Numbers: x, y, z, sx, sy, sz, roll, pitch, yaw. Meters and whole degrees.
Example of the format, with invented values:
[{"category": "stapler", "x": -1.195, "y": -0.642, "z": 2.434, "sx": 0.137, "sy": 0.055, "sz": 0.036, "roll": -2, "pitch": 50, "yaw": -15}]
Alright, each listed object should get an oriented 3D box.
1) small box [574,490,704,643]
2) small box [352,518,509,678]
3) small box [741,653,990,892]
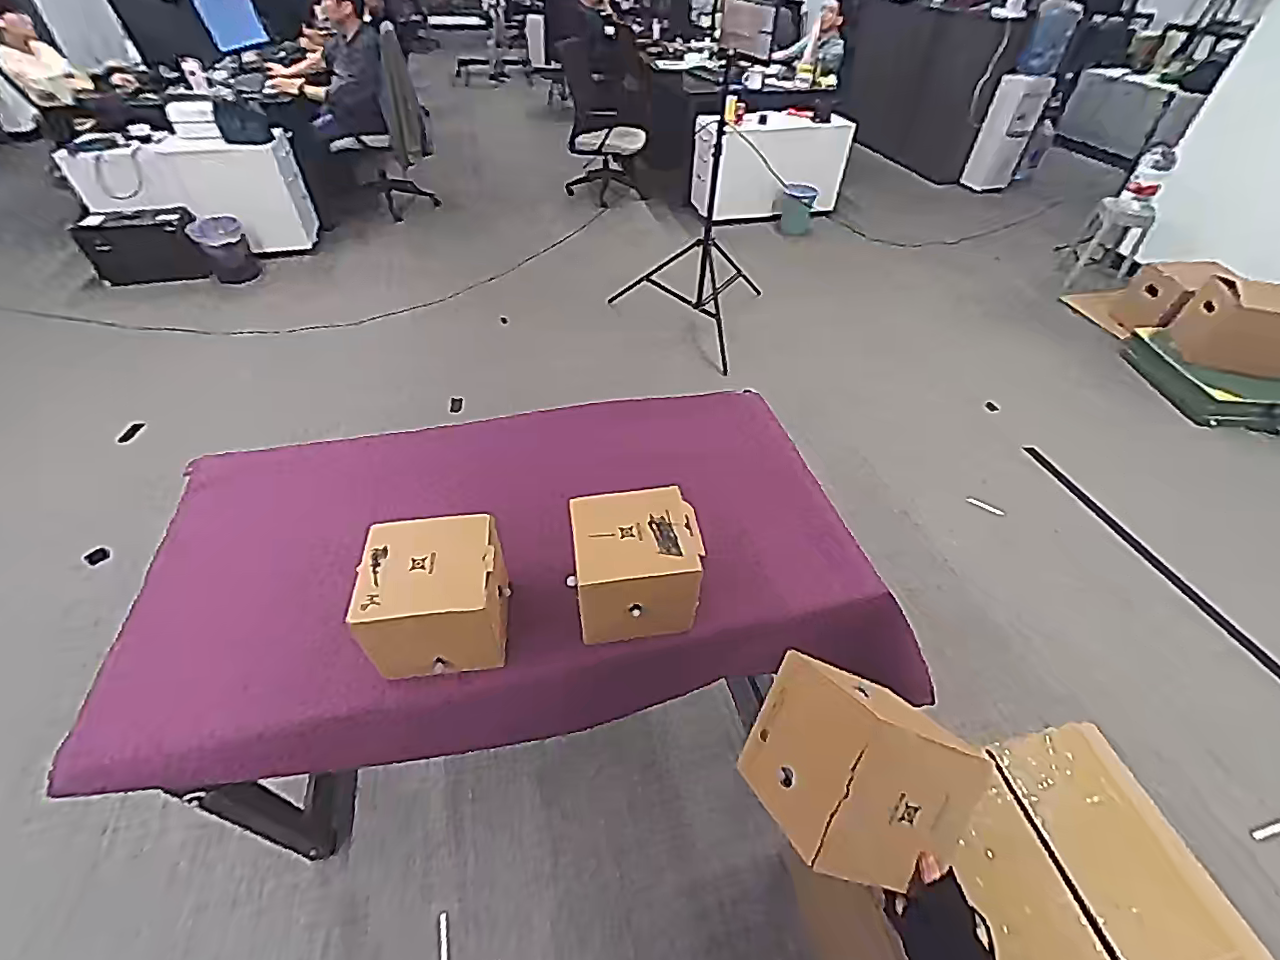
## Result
[{"category": "small box", "x": -0.009, "y": 0.138, "z": 0.855, "sx": 0.179, "sy": 0.176, "sz": 0.168, "roll": -6, "pitch": 45, "yaw": -7}, {"category": "small box", "x": -0.294, "y": 0.177, "z": 0.808, "sx": 0.179, "sy": 0.176, "sz": 0.168, "roll": -4, "pitch": 45, "yaw": -7}, {"category": "small box", "x": 0.247, "y": 0.324, "z": 0.632, "sx": 0.179, "sy": 0.168, "sz": 0.176, "roll": 24, "pitch": 0, "yaw": -18}]
